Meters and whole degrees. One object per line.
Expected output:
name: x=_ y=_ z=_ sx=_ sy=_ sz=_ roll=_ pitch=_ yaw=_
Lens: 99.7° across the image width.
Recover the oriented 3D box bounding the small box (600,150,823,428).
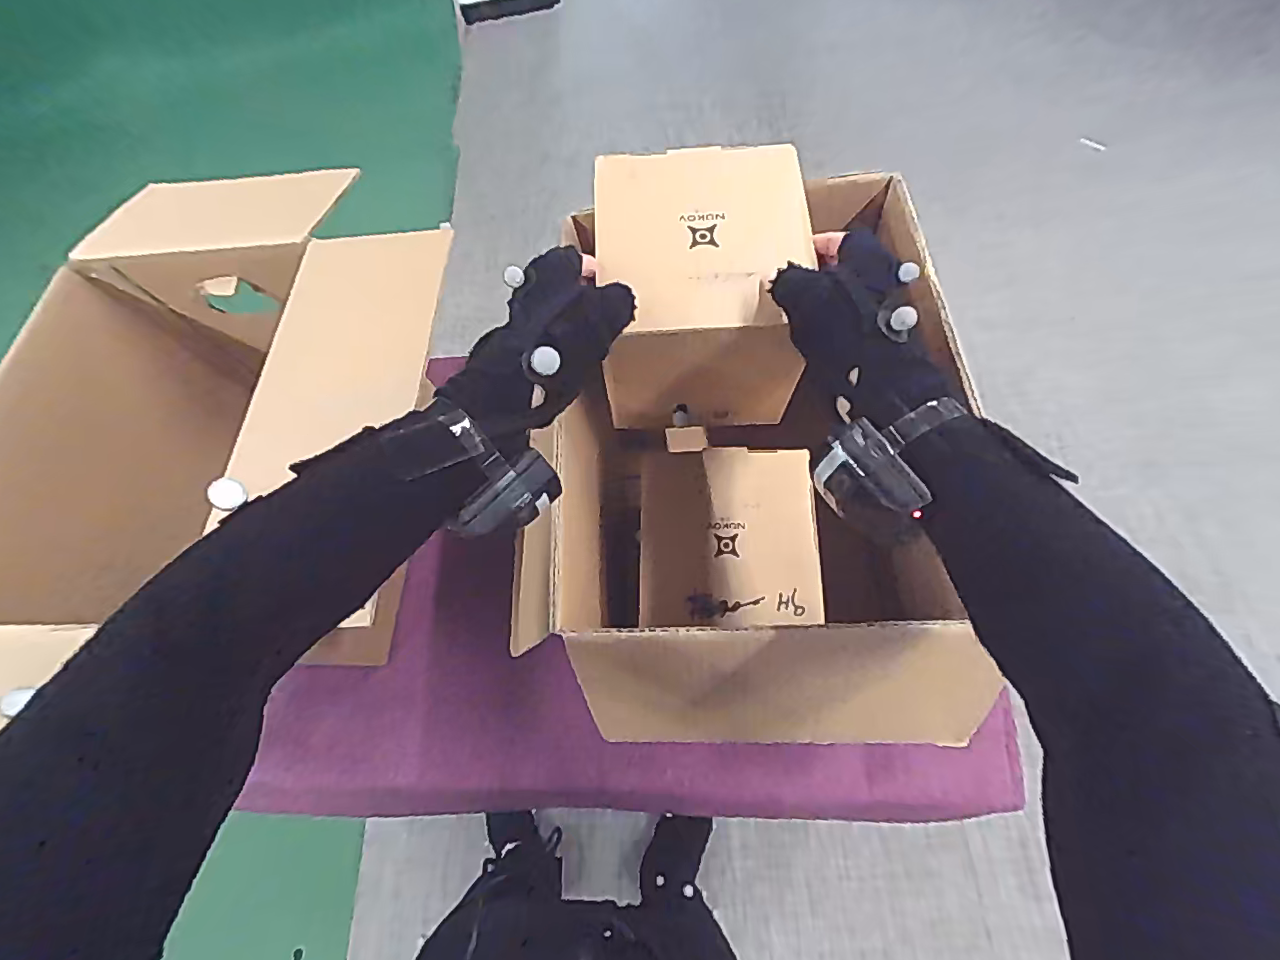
small box: x=0.053 y=-0.164 z=0.497 sx=0.168 sy=0.176 sz=0.179 roll=-2 pitch=70 yaw=2
